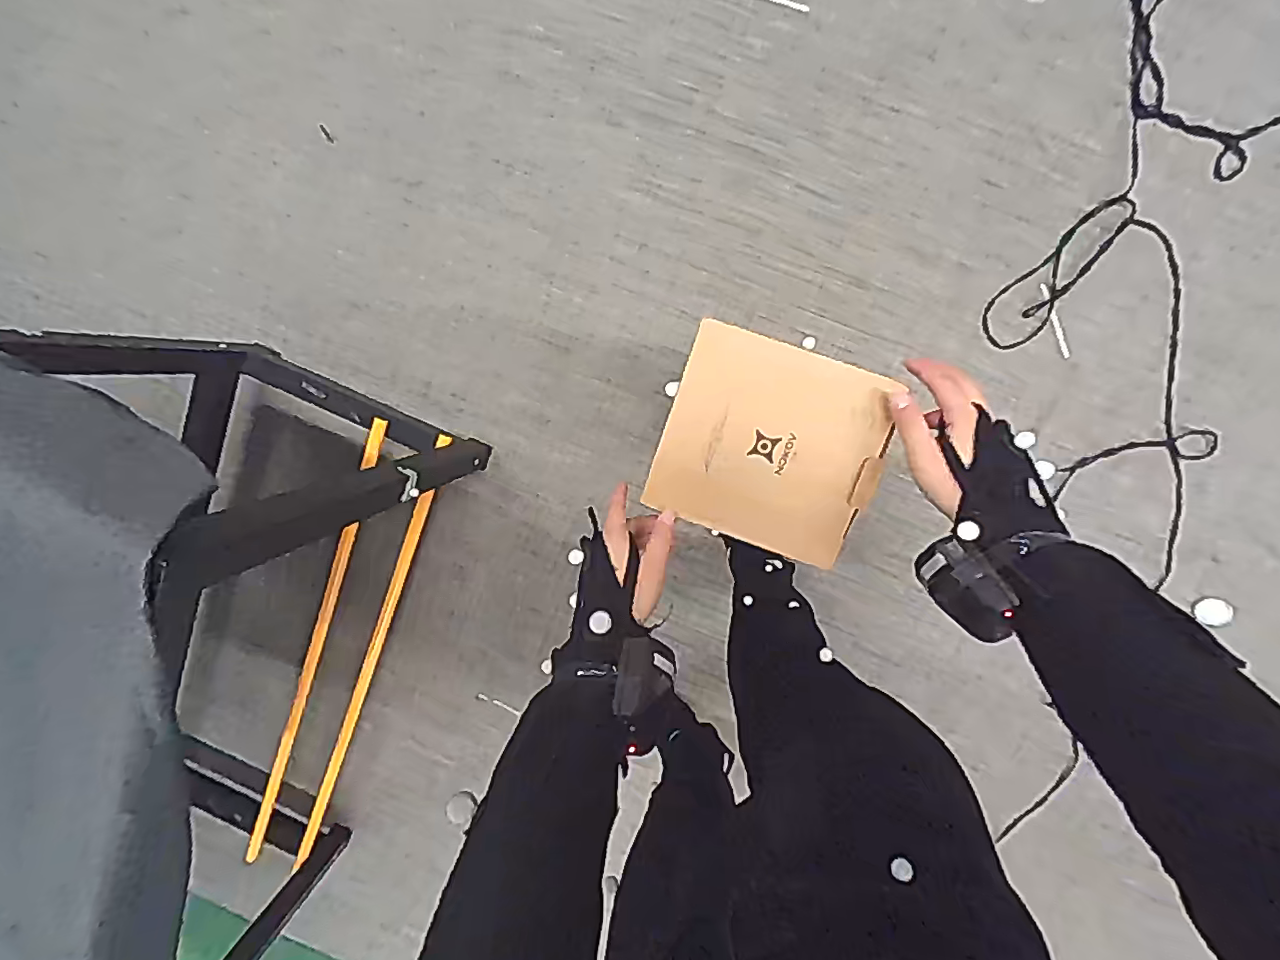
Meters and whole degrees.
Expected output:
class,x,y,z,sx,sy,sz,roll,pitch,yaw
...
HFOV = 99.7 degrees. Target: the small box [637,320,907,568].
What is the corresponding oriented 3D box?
class,x,y,z,sx,sy,sz,roll,pitch,yaw
small box,0.114,-0.042,0.521,0.179,0.176,0.168,19,103,4
